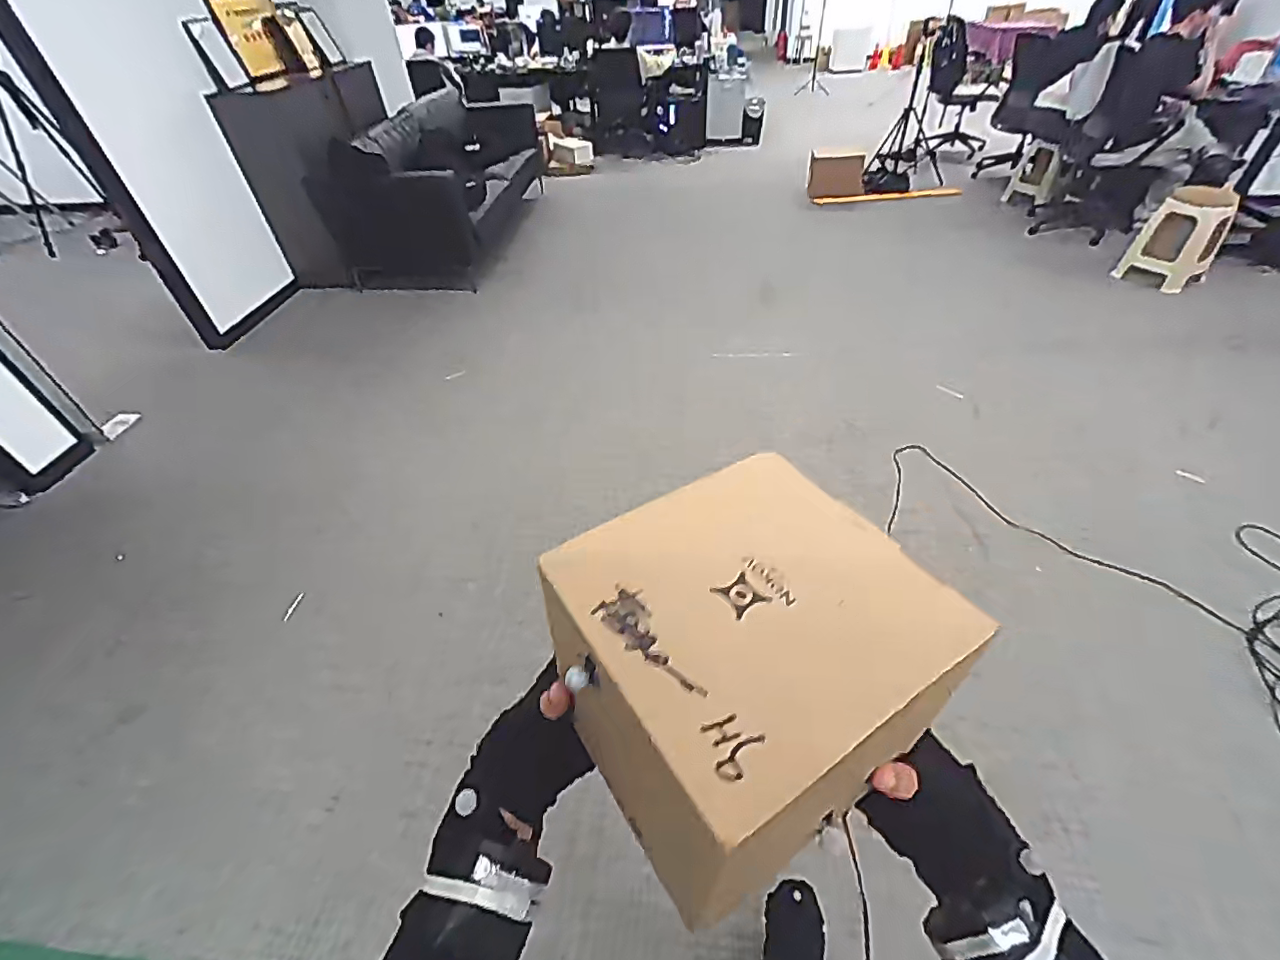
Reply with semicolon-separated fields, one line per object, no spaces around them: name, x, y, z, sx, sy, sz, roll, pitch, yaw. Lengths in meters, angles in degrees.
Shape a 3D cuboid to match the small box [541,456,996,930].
small box;0.057;0.118;0.329;0.179;0.176;0.168;-23;46;-25
